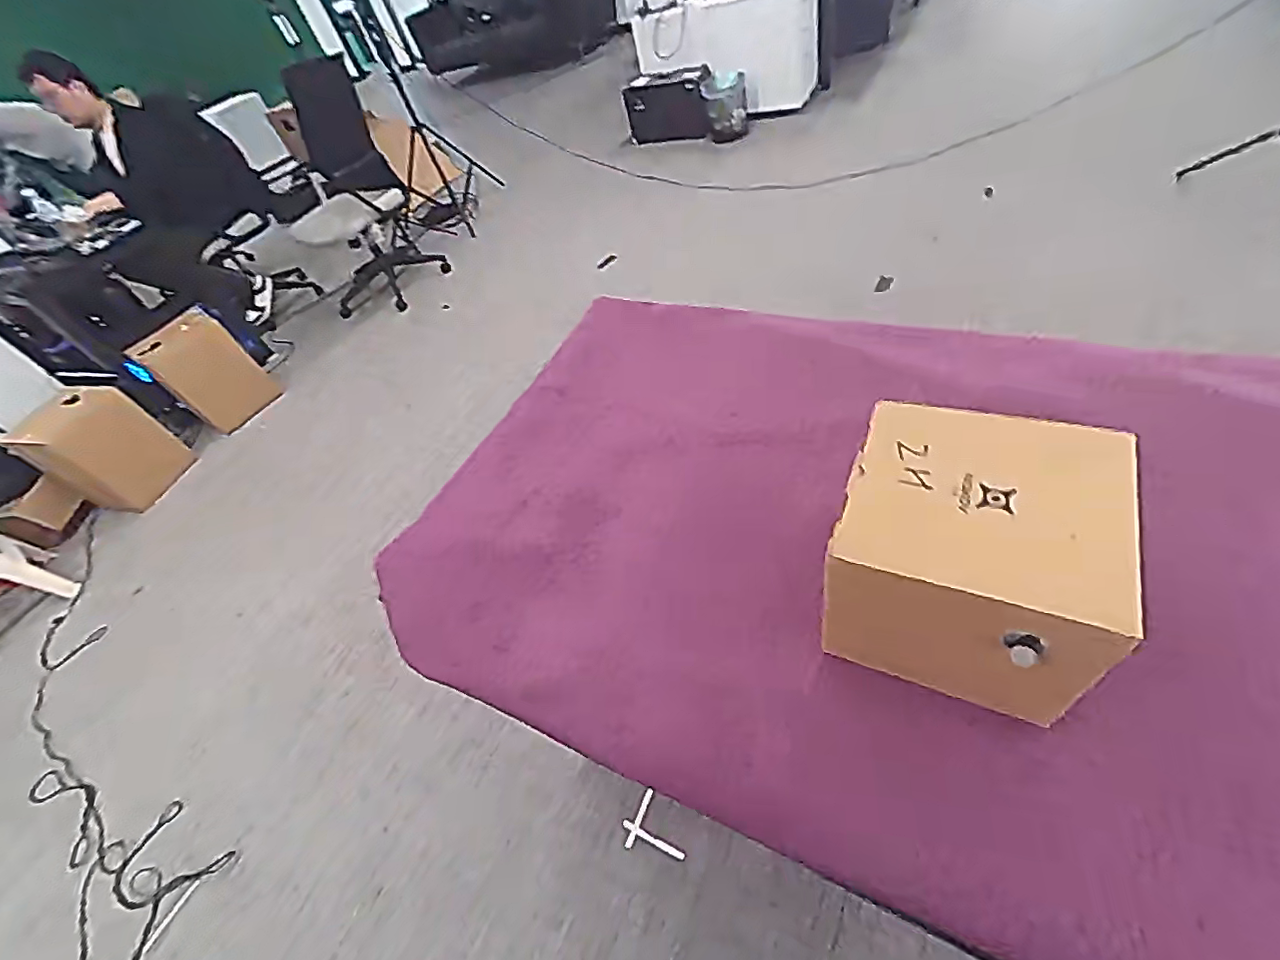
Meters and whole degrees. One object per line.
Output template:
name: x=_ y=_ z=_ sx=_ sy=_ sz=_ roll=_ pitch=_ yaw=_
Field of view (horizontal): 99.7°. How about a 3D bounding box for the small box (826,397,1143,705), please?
small box: x=0.262 y=0.059 z=0.442 sx=0.179 sy=0.176 sz=0.168 roll=13 pitch=54 yaw=27
